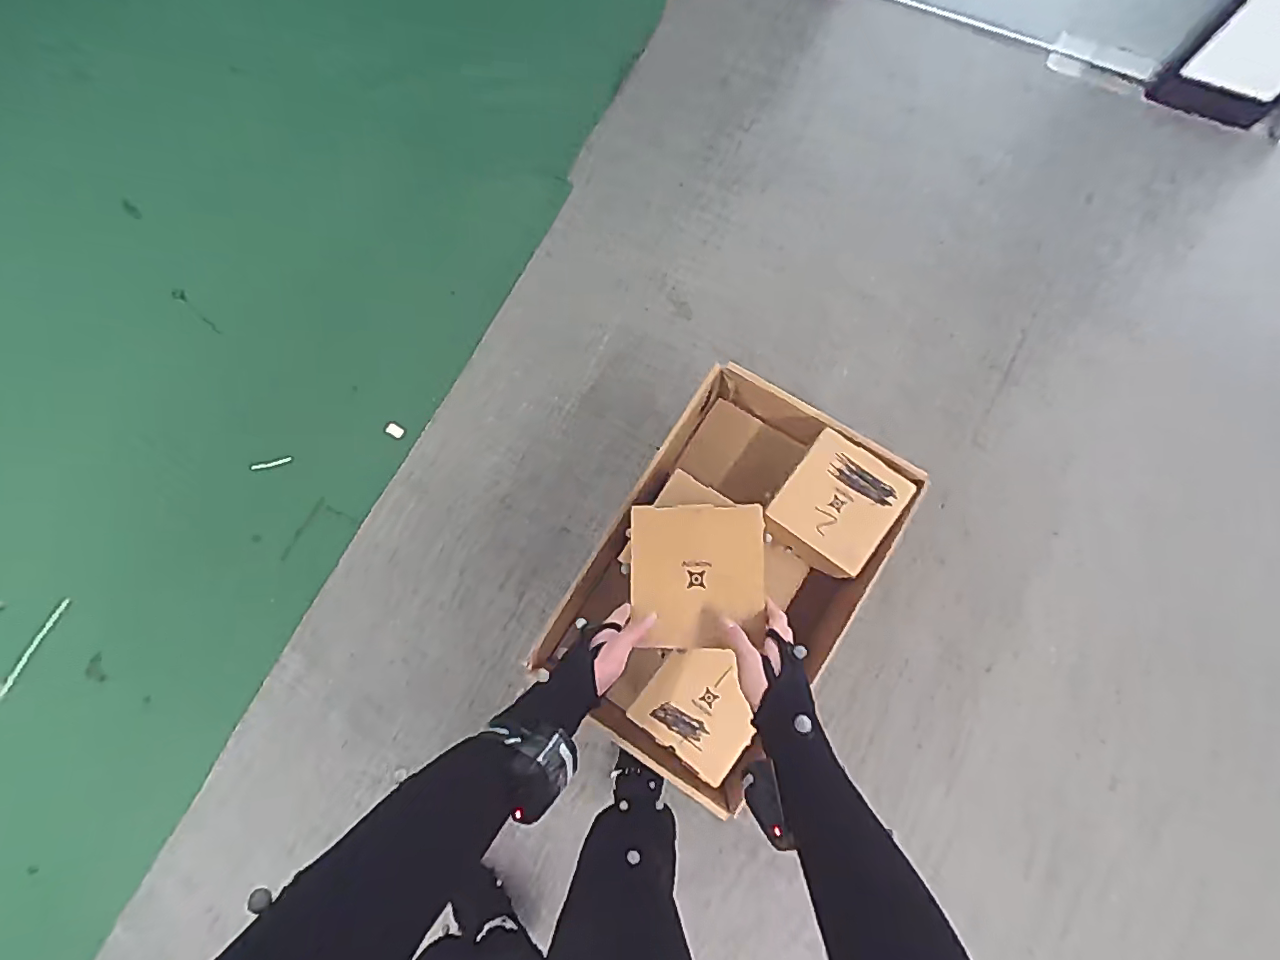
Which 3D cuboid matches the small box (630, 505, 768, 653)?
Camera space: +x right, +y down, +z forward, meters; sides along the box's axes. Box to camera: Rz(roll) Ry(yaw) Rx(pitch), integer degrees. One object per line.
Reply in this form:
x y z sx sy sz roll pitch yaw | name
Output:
0.080 0.133 0.730 0.168 0.176 0.179 -2 77 7 | small box

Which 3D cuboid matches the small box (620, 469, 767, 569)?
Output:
0.089 0.109 0.907 0.168 0.176 0.179 33 85 9 | small box
